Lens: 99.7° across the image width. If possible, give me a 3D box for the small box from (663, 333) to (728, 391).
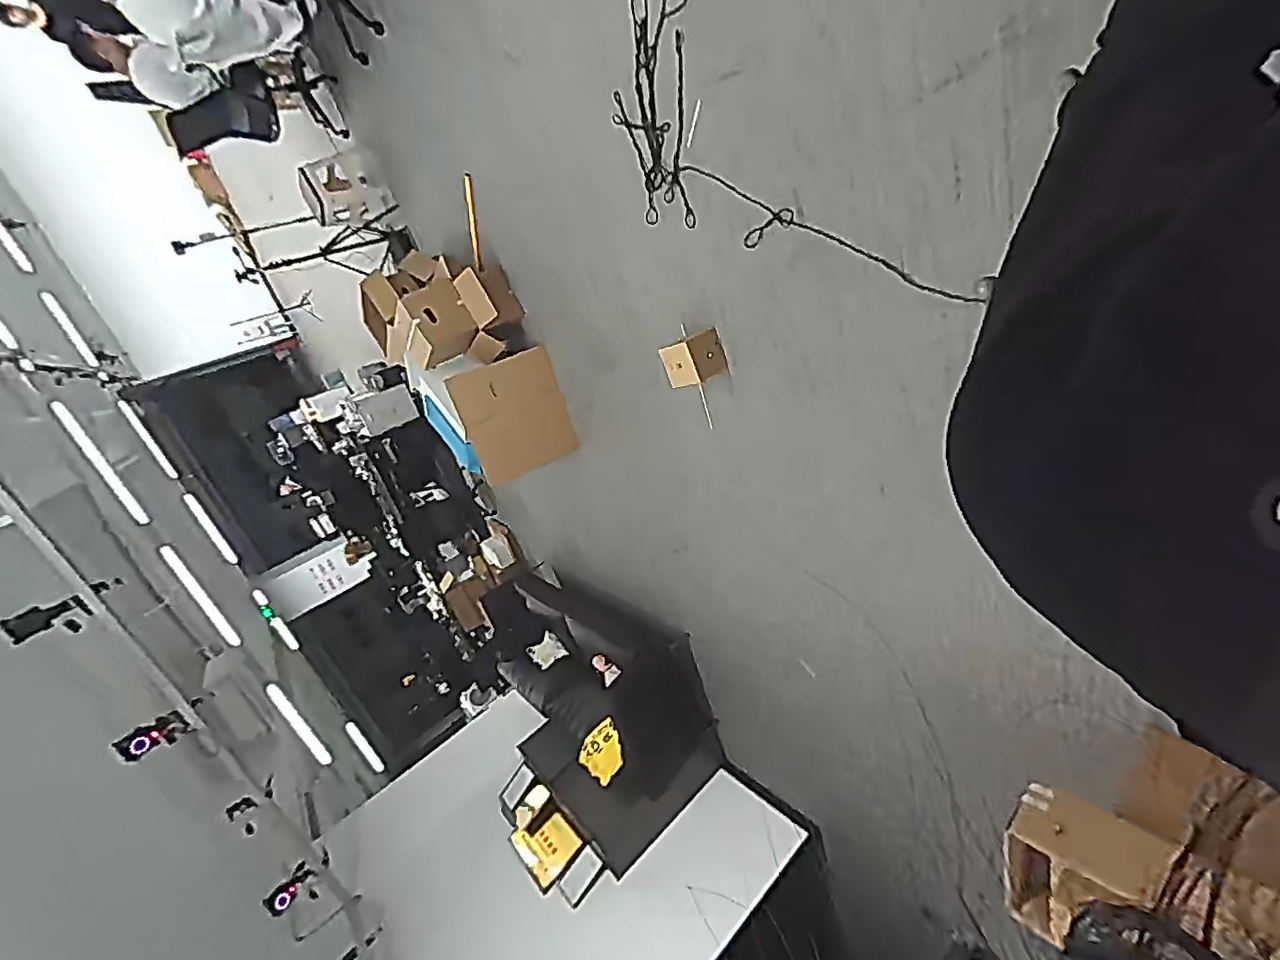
[{"bbox_3d":[0.228,-0.466,2.141,0.179,0.176,0.168,3,119,56],"label":"small box"}]
